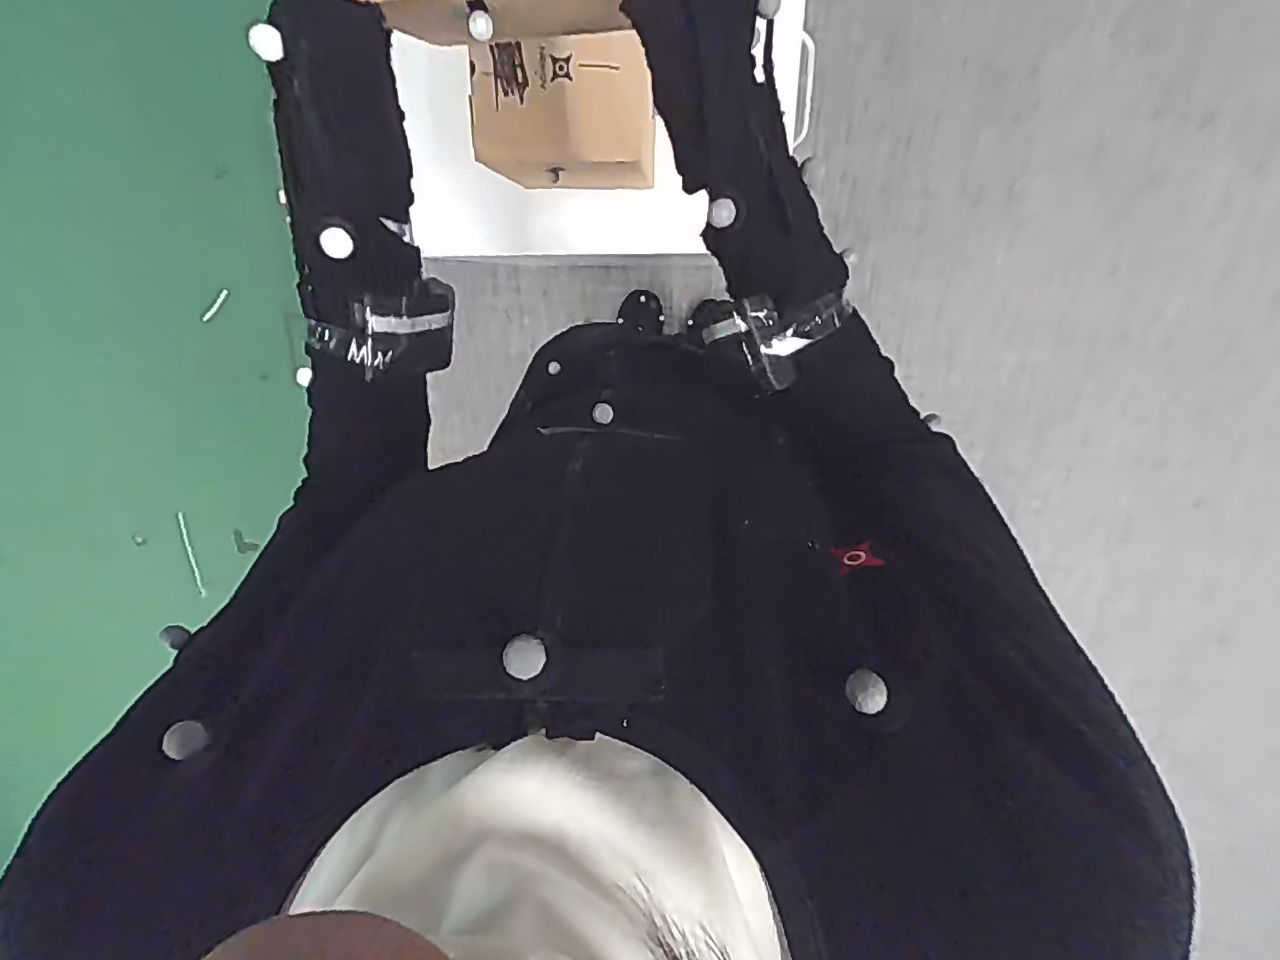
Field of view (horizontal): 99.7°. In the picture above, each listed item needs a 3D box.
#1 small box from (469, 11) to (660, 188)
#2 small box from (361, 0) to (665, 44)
[{"bbox_3d":[-0.076,-0.435,0.609,0.179,0.176,0.168,4,110,6],"label":"small box"},{"bbox_3d":[-0.068,-0.344,0.267,0.168,0.176,0.179,-8,125,1],"label":"small box"}]
